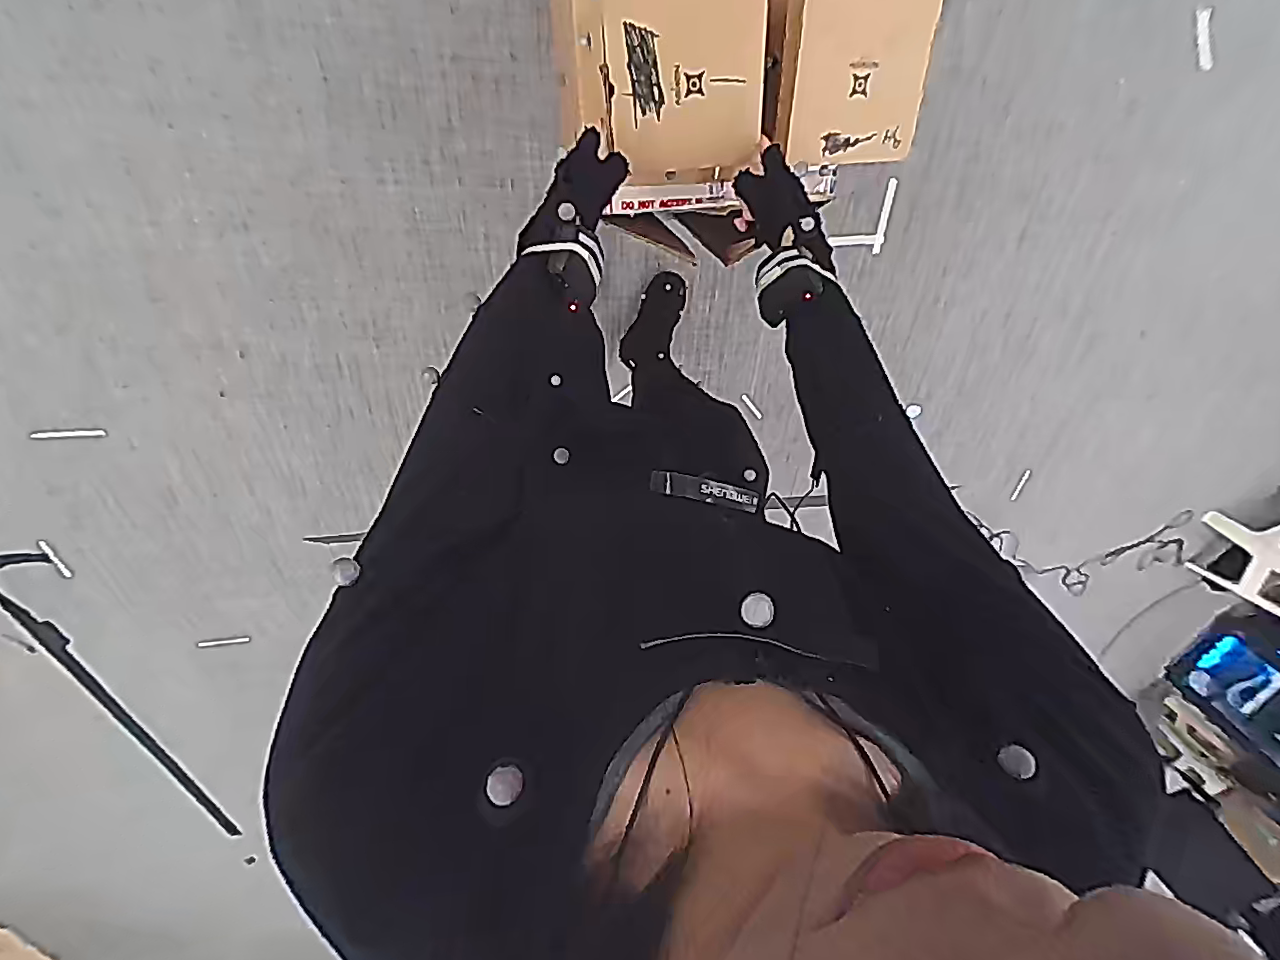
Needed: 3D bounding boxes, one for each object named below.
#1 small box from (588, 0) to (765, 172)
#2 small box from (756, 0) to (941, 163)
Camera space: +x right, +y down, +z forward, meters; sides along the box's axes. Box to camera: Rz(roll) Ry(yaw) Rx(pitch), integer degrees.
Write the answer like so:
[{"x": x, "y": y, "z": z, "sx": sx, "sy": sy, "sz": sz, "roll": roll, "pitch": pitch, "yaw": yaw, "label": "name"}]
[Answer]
[{"x": 0.034, "y": -0.472, "z": 0.645, "sx": 0.179, "sy": 0.176, "sz": 0.168, "roll": -9, "pitch": 126, "yaw": -6, "label": "small box"}, {"x": 0.229, "y": -0.500, "z": 0.671, "sx": 0.168, "sy": 0.176, "sz": 0.179, "roll": -8, "pitch": 125, "yaw": -10, "label": "small box"}]
